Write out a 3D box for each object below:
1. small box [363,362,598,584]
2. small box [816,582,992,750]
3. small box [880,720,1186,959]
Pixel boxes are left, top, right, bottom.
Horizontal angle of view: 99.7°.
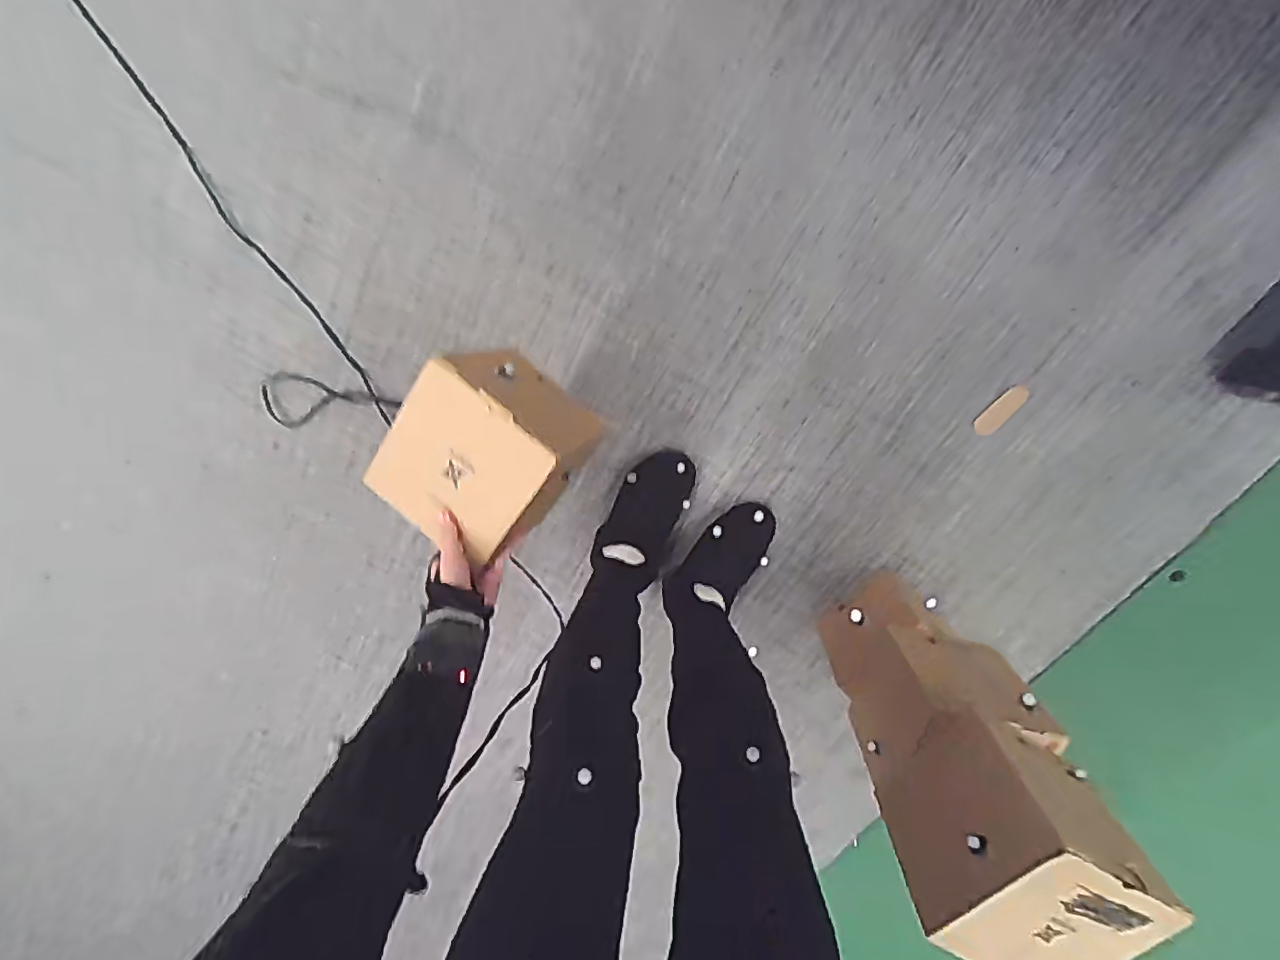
[{"bbox_3d":[-0.168,-0.021,0.626,0.168,0.176,0.179,41,112,2],"label":"small box"},{"bbox_3d":[0.423,0.296,0.902,0.179,0.176,0.168,40,109,-10],"label":"small box"},{"bbox_3d":[0.401,0.404,0.592,0.168,0.176,0.179,32,111,-8],"label":"small box"}]
